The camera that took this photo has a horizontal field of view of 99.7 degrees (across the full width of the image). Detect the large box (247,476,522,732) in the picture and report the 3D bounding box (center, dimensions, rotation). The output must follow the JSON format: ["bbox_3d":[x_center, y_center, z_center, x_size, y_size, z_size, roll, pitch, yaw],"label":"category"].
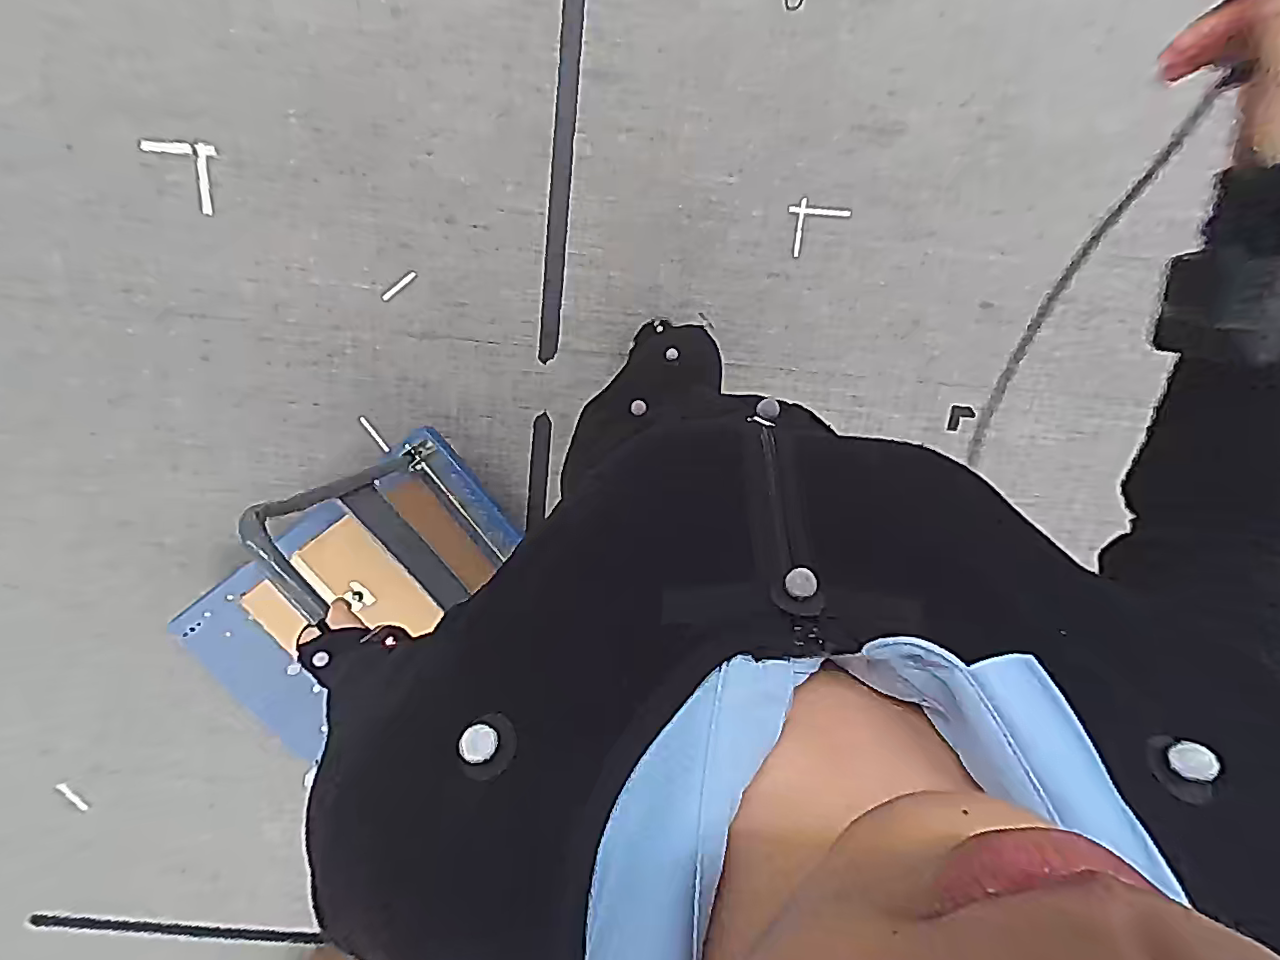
[{"bbox_3d":[-0.535,0.260,1.222,0.320,0.320,0.408,-36,100,6],"label":"large box"}]
